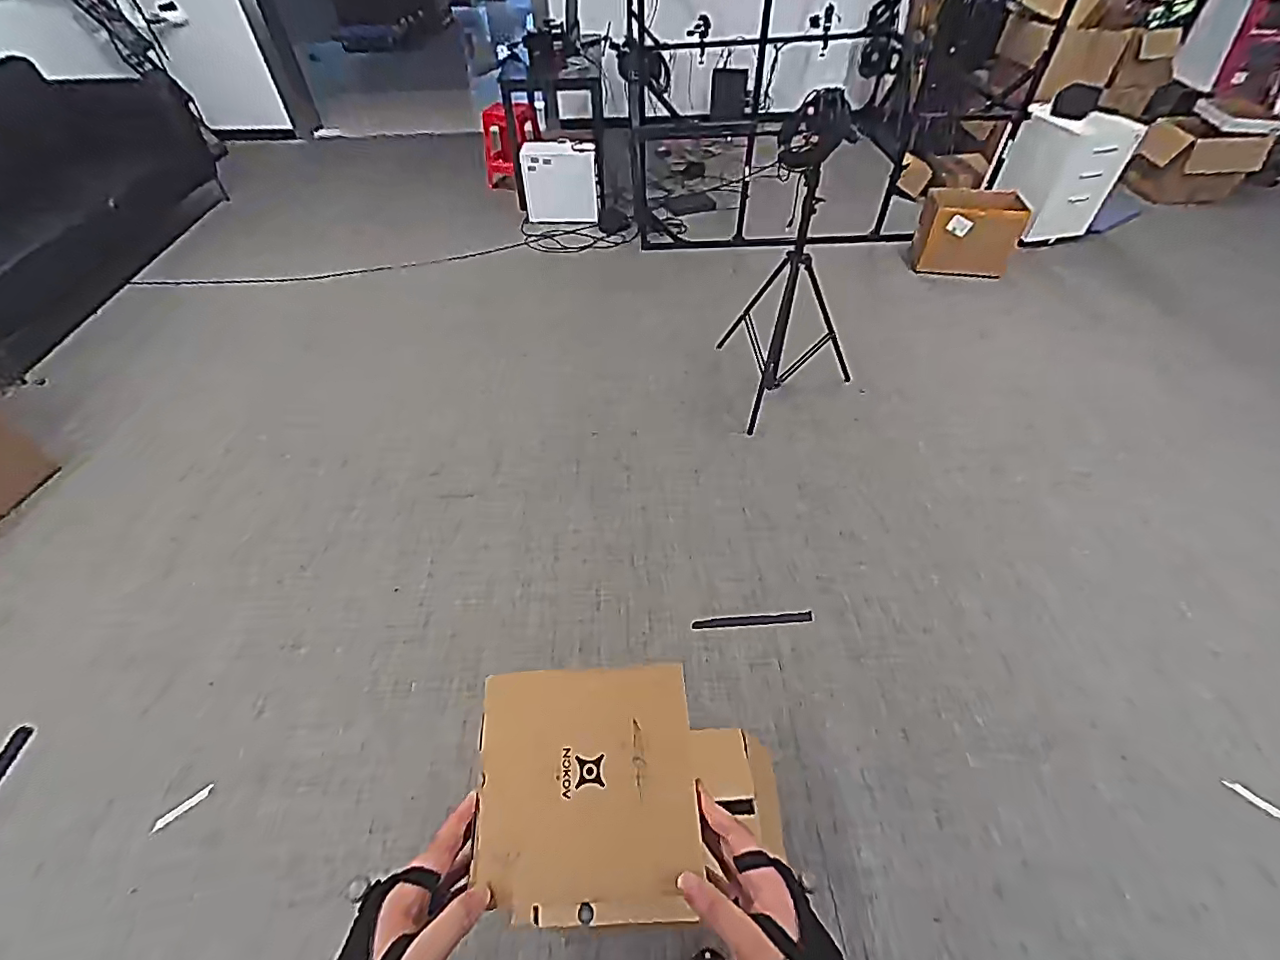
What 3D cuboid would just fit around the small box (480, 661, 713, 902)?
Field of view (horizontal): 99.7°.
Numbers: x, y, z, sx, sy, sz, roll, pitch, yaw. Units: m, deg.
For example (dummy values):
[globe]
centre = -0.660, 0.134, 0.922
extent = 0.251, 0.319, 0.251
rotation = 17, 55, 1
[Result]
[small box]
centre = -0.036, 0.282, 0.507
extent = 0.179, 0.176, 0.168
rotation = -4, 56, -3
